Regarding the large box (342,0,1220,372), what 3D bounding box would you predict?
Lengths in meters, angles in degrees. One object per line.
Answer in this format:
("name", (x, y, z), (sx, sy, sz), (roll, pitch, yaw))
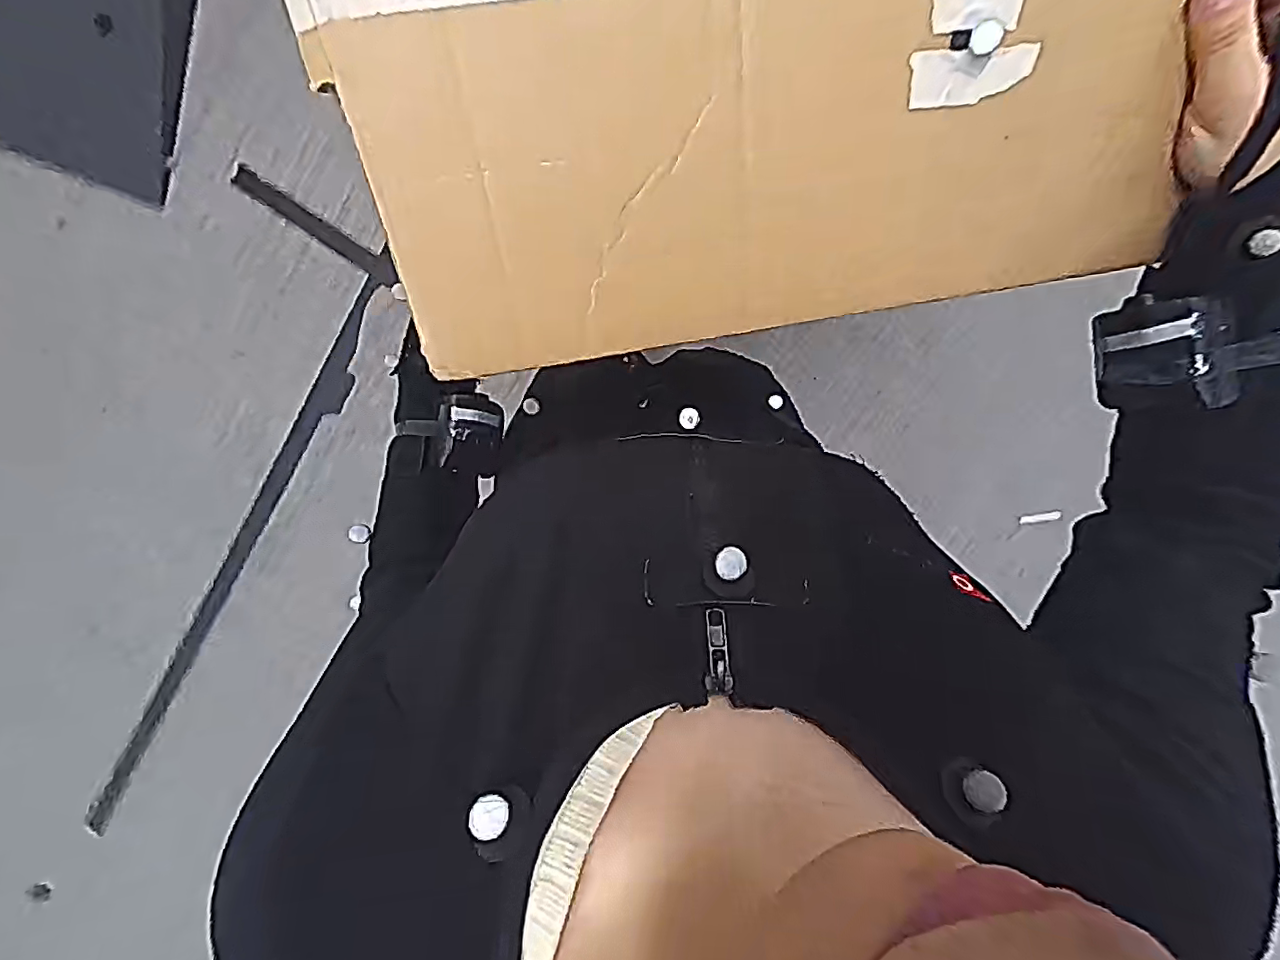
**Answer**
("large box", (0.051, -0.292, 0.358), (0.408, 0.320, 0.320), (-10, 119, -5))
